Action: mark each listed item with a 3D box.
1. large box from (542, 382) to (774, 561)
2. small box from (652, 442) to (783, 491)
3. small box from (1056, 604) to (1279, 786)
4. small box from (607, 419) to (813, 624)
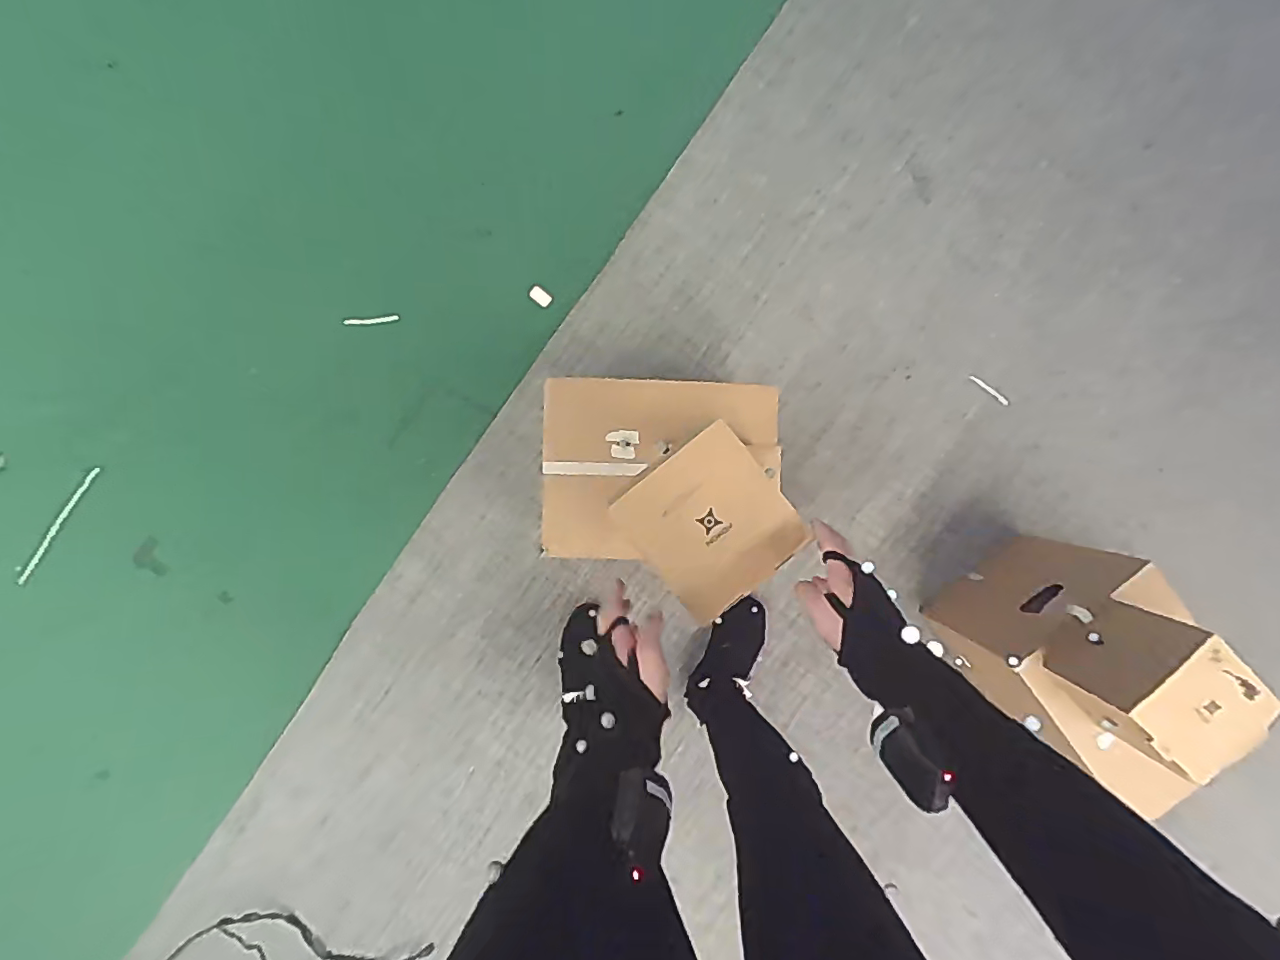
[{"bbox_3d":[0.032,-0.019,1.081,0.408,0.320,0.320,2,92,-1],"label":"large box"},{"bbox_3d":[0.109,0.026,0.838,0.179,0.176,0.168,1,93,-1],"label":"small box"},{"bbox_3d":[0.828,0.334,0.873,0.179,0.176,0.168,-45,94,3],"label":"small box"},{"bbox_3d":[0.077,0.042,0.675,0.168,0.176,0.179,-38,93,0],"label":"small box"}]
